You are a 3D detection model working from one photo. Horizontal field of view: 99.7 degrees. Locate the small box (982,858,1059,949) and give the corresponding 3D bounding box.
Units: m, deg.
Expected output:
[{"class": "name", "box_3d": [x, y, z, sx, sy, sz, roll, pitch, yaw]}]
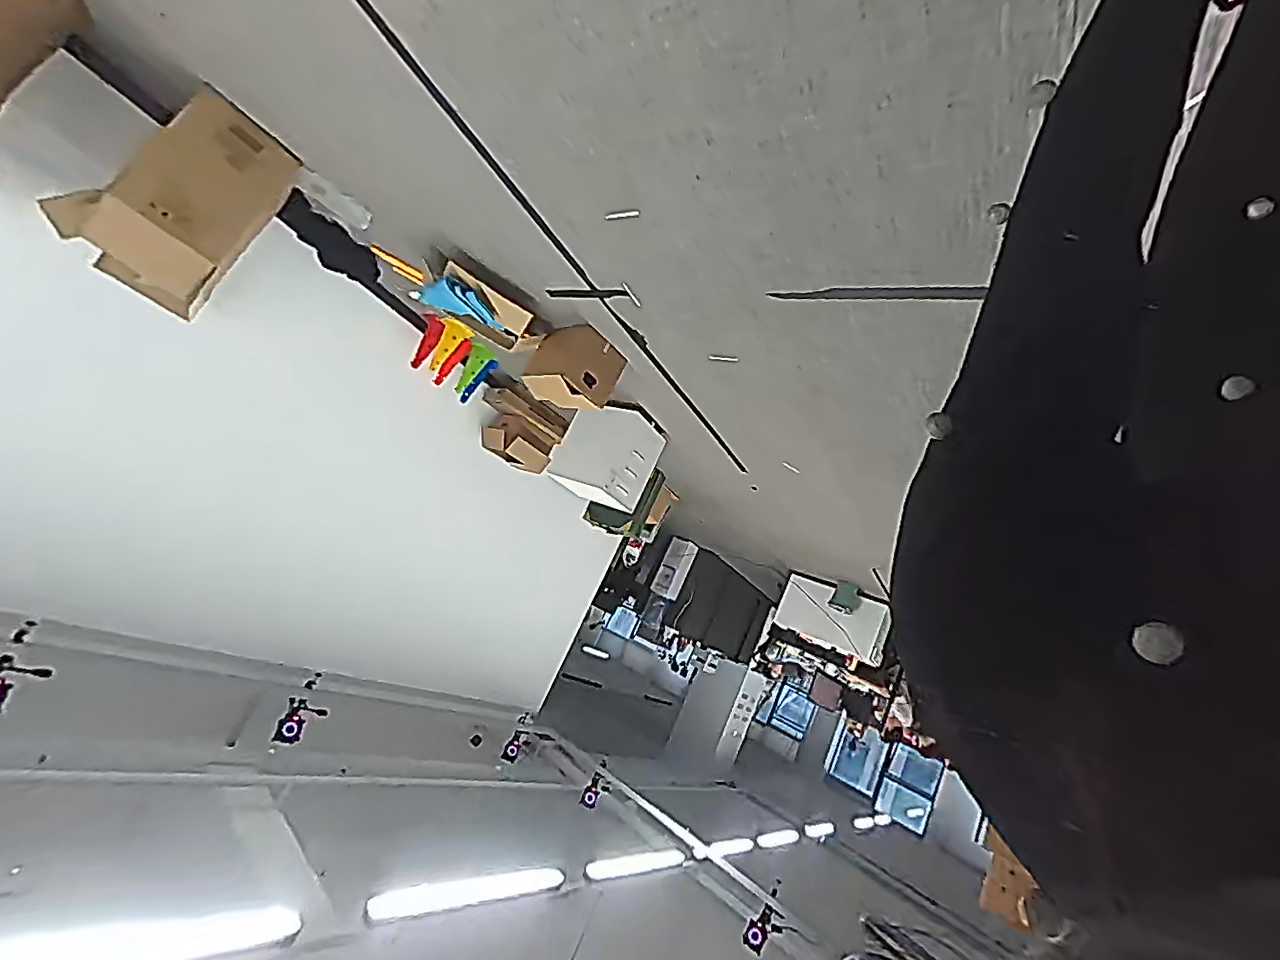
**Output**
[{"class": "small box", "box_3d": [1.228, 1.355, 1.743, 0.168, 0.176, 0.179, 13, 162, 45]}]
